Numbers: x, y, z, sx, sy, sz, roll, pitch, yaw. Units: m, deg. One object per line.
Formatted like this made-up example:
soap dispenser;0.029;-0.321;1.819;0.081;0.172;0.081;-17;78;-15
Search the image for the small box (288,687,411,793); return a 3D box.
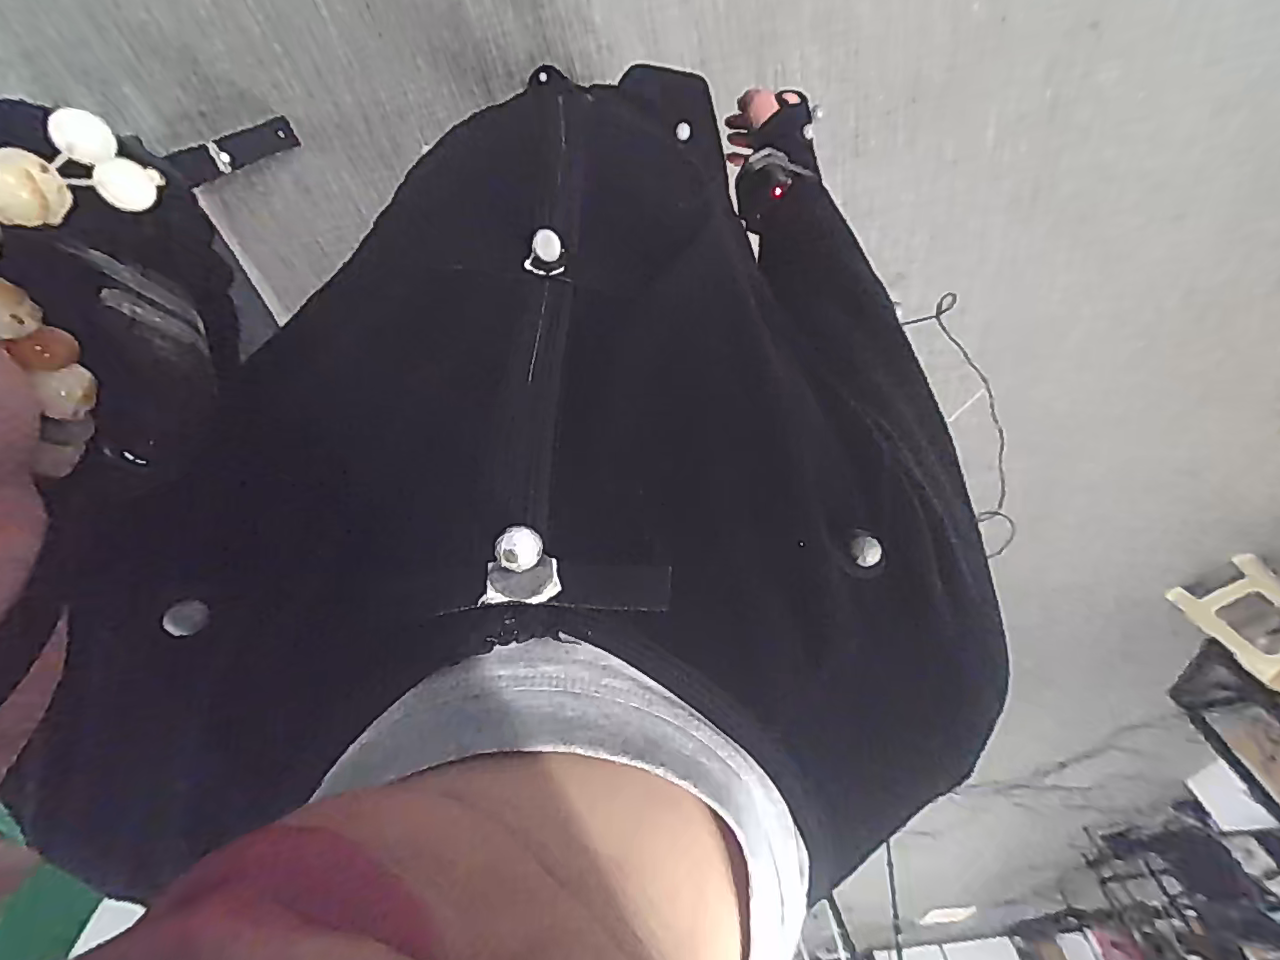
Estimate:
small box;-0.674;0.606;1.277;0.168;0.176;0.179;-12;129;5
